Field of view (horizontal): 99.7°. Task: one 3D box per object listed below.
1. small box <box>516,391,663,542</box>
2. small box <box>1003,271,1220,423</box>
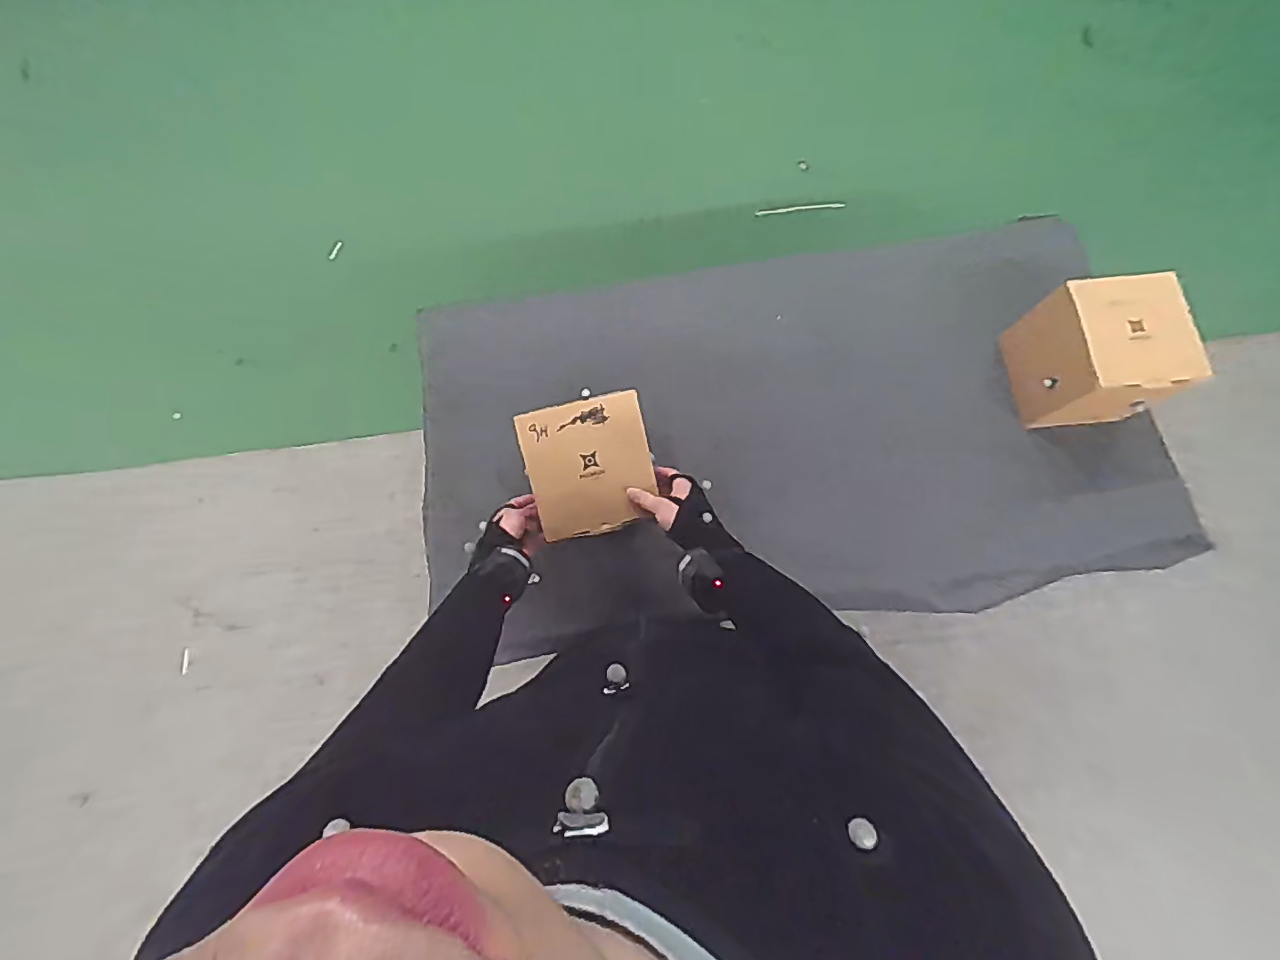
[{"bbox_3d":[-0.072,-0.030,0.788,0.168,0.176,0.179,-14,100,-5],"label":"small box"},{"bbox_3d":[0.718,-0.196,0.847,0.168,0.176,0.179,-5,74,-1],"label":"small box"}]
